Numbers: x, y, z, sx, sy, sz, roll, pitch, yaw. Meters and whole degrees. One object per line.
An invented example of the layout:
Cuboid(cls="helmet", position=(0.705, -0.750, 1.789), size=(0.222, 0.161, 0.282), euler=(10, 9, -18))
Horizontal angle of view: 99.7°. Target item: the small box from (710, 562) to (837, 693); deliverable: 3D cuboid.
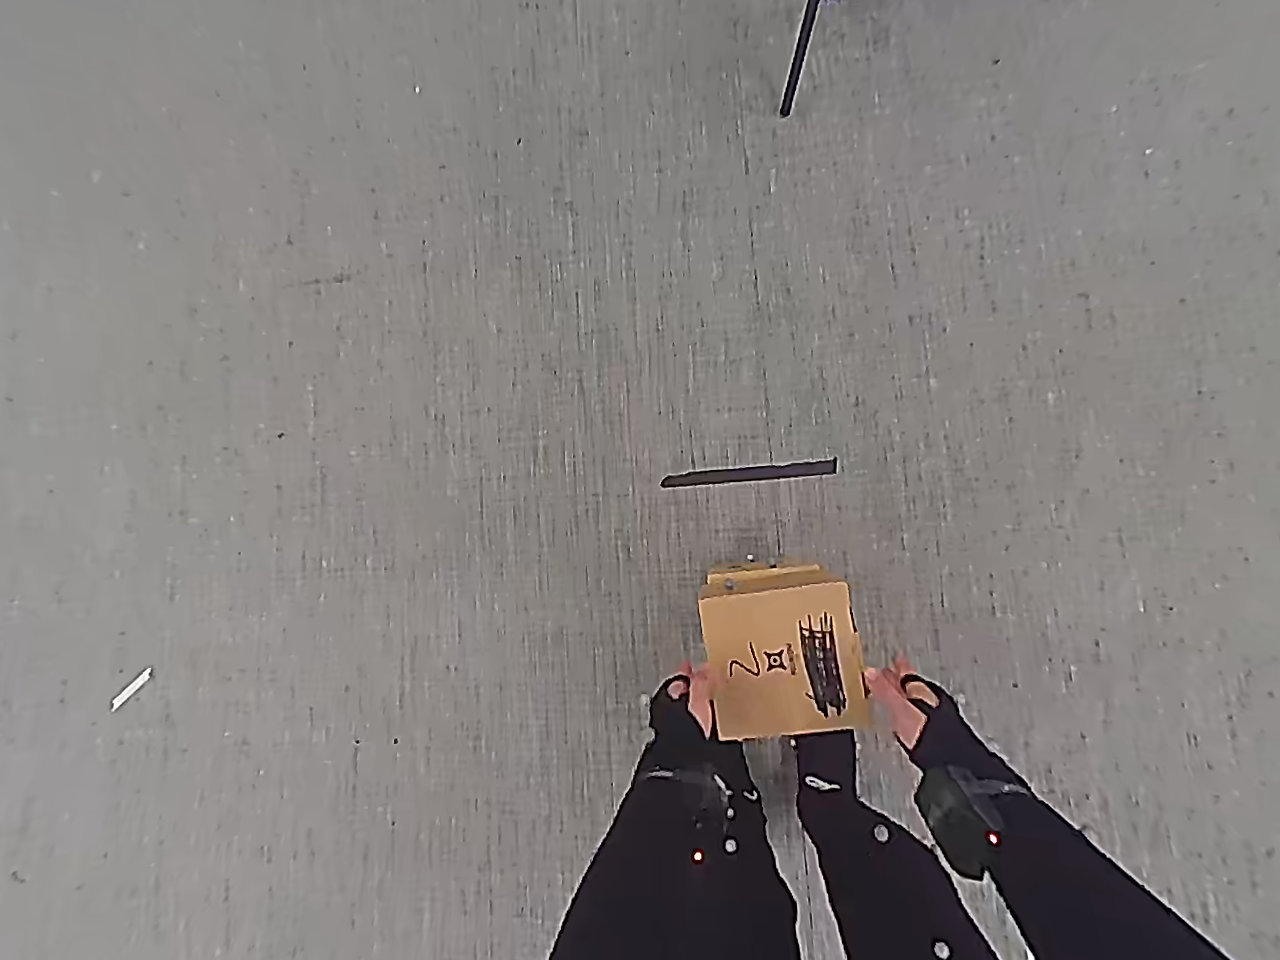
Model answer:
Cuboid(cls="small box", position=(0.201, 0.223, 0.859), size=(0.168, 0.176, 0.179), euler=(-7, 83, 8))
